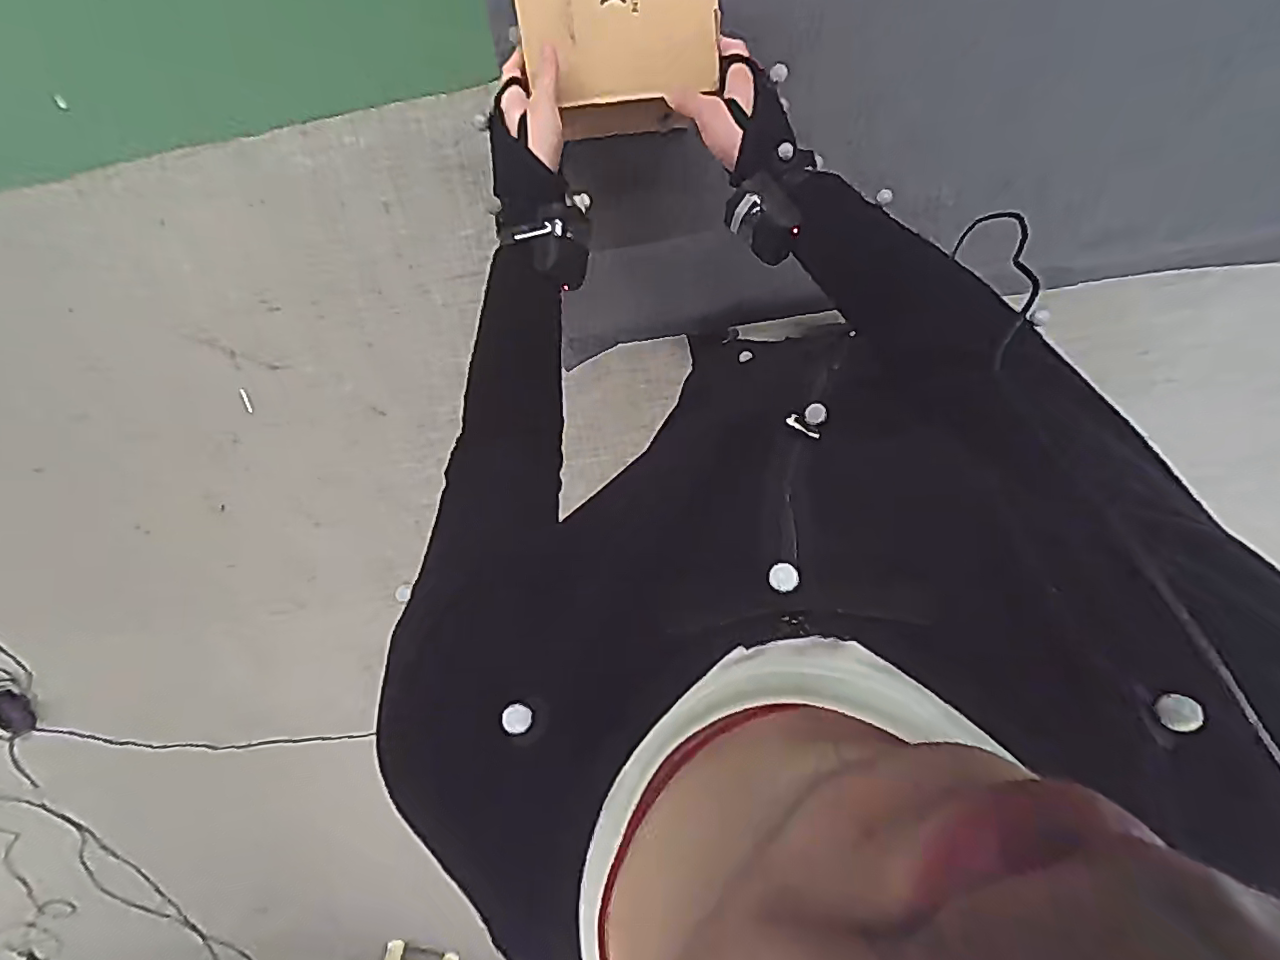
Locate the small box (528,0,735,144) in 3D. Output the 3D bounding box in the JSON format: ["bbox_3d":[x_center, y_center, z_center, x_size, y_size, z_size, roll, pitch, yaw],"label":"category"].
[{"bbox_3d":[-0.015,-0.440,0.524,0.179,0.176,0.168,-7,113,-3],"label":"small box"}]
